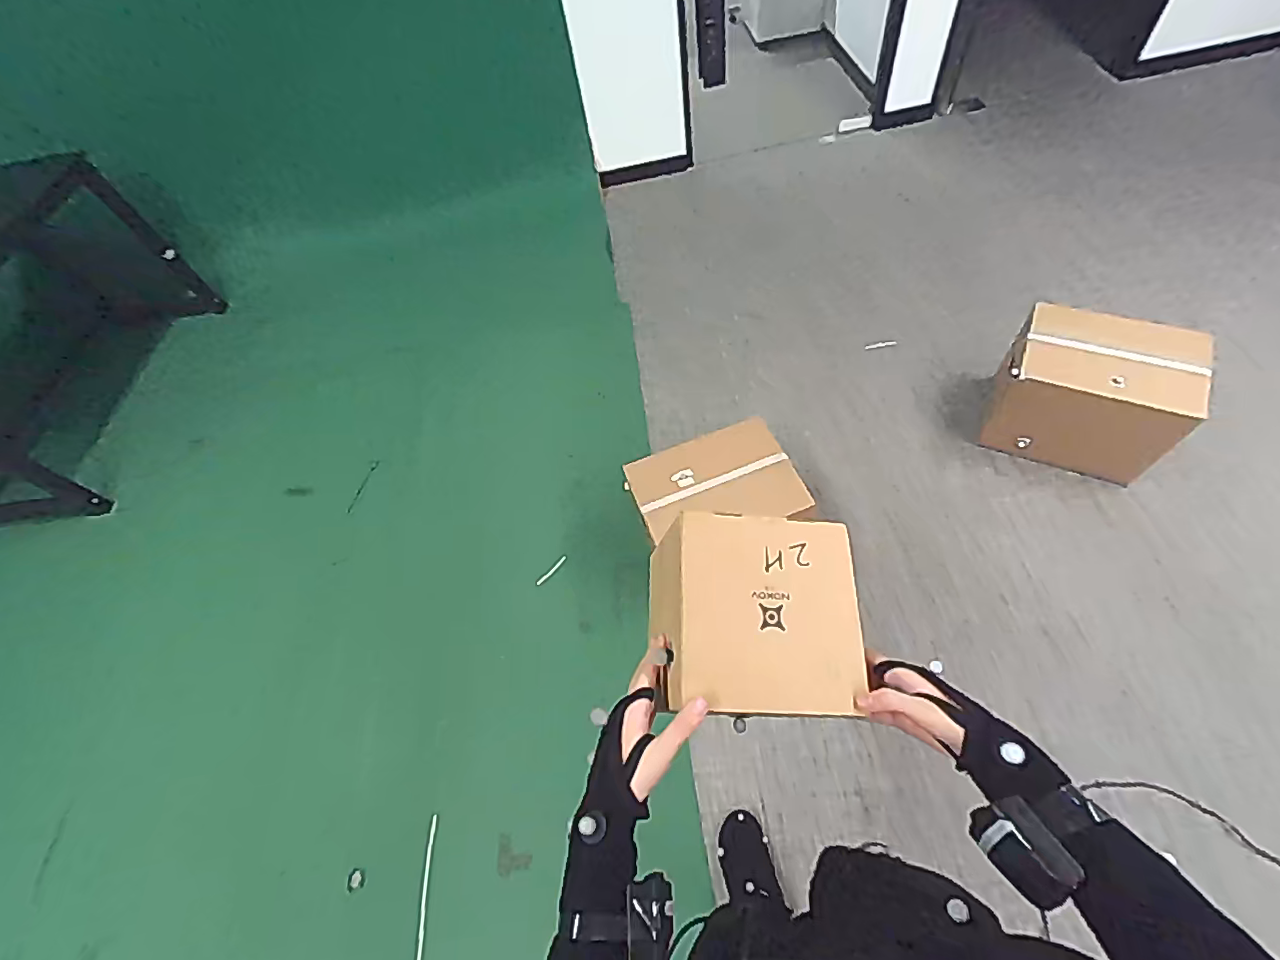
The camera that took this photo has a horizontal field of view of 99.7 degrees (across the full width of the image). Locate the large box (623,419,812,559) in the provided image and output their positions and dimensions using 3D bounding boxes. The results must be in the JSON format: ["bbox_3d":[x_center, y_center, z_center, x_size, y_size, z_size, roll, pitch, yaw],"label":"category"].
[{"bbox_3d":[0.209,0.098,1.499,0.408,0.320,0.320,-21,56,-4],"label":"large box"}]

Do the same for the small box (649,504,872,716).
[{"bbox_3d":[0.105,0.141,0.548,0.168,0.176,0.179,6,64,-8],"label":"small box"}]
